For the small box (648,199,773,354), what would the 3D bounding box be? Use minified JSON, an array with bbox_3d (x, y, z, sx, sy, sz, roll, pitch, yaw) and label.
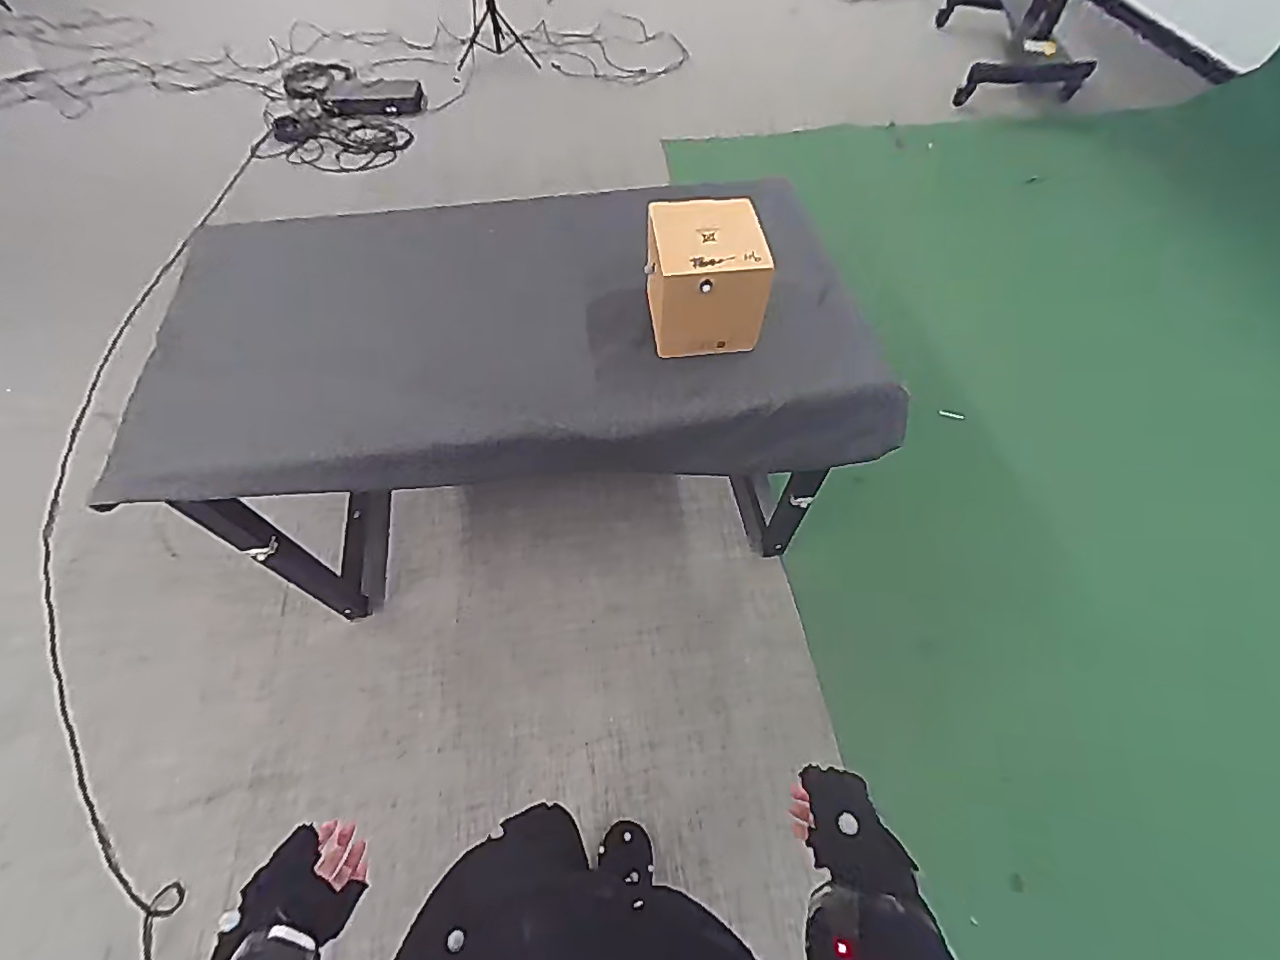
[{"bbox_3d":[0.103,-0.331,0.889,0.168,0.176,0.179,-6,58,-3],"label":"small box"}]
